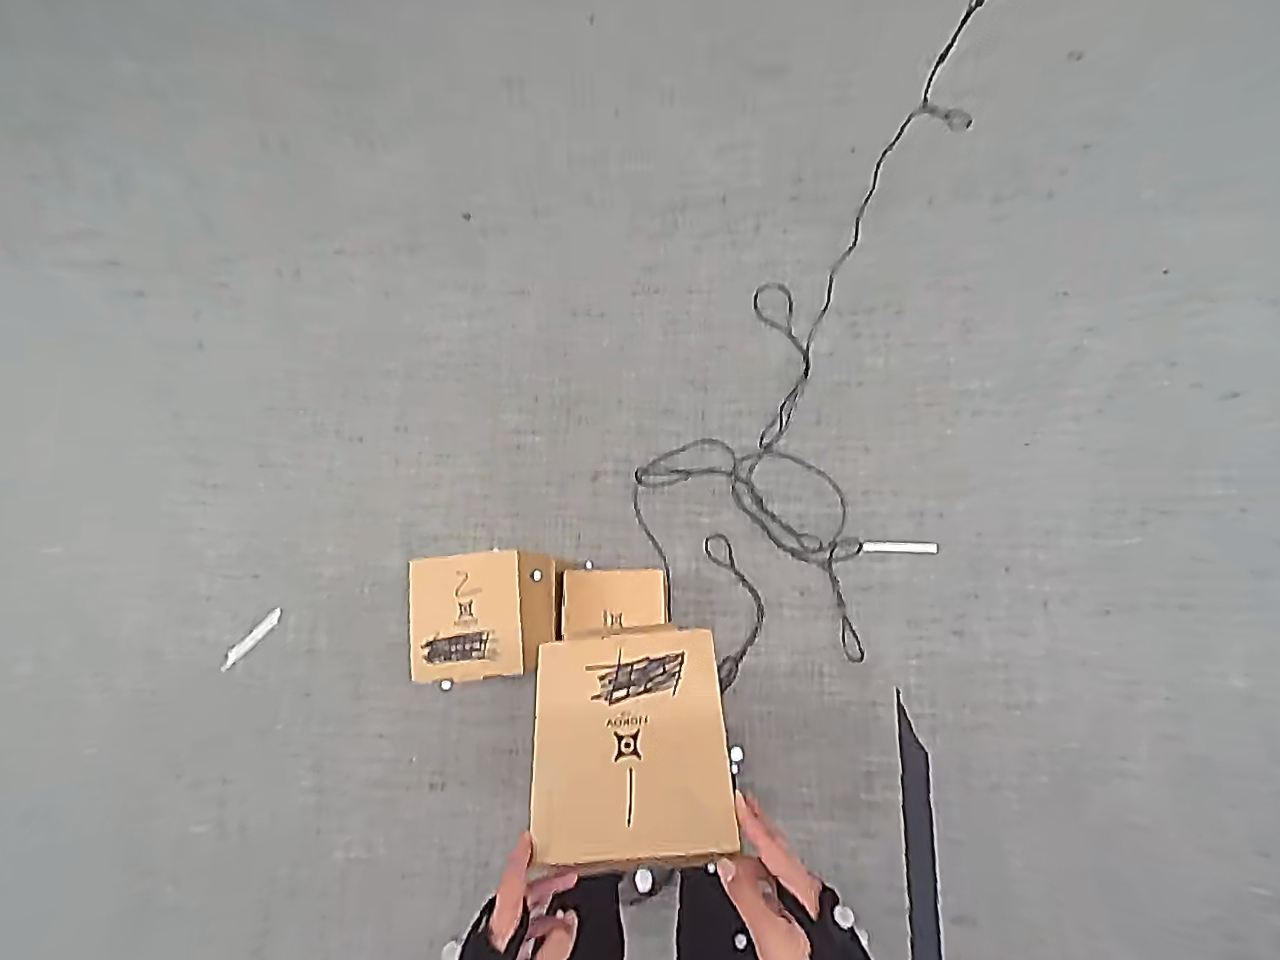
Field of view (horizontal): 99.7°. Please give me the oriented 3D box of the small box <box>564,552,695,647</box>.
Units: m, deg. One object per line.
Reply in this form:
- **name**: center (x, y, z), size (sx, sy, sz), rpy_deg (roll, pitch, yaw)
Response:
- **small box**: center (-0.023, 0.244, 0.914), size (0.168, 0.176, 0.179), rpy_deg (25, 93, -4)

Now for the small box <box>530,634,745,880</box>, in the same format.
- **small box**: center (0.003, 0.269, 0.519), size (0.168, 0.176, 0.179), rpy_deg (-7, 52, 4)
